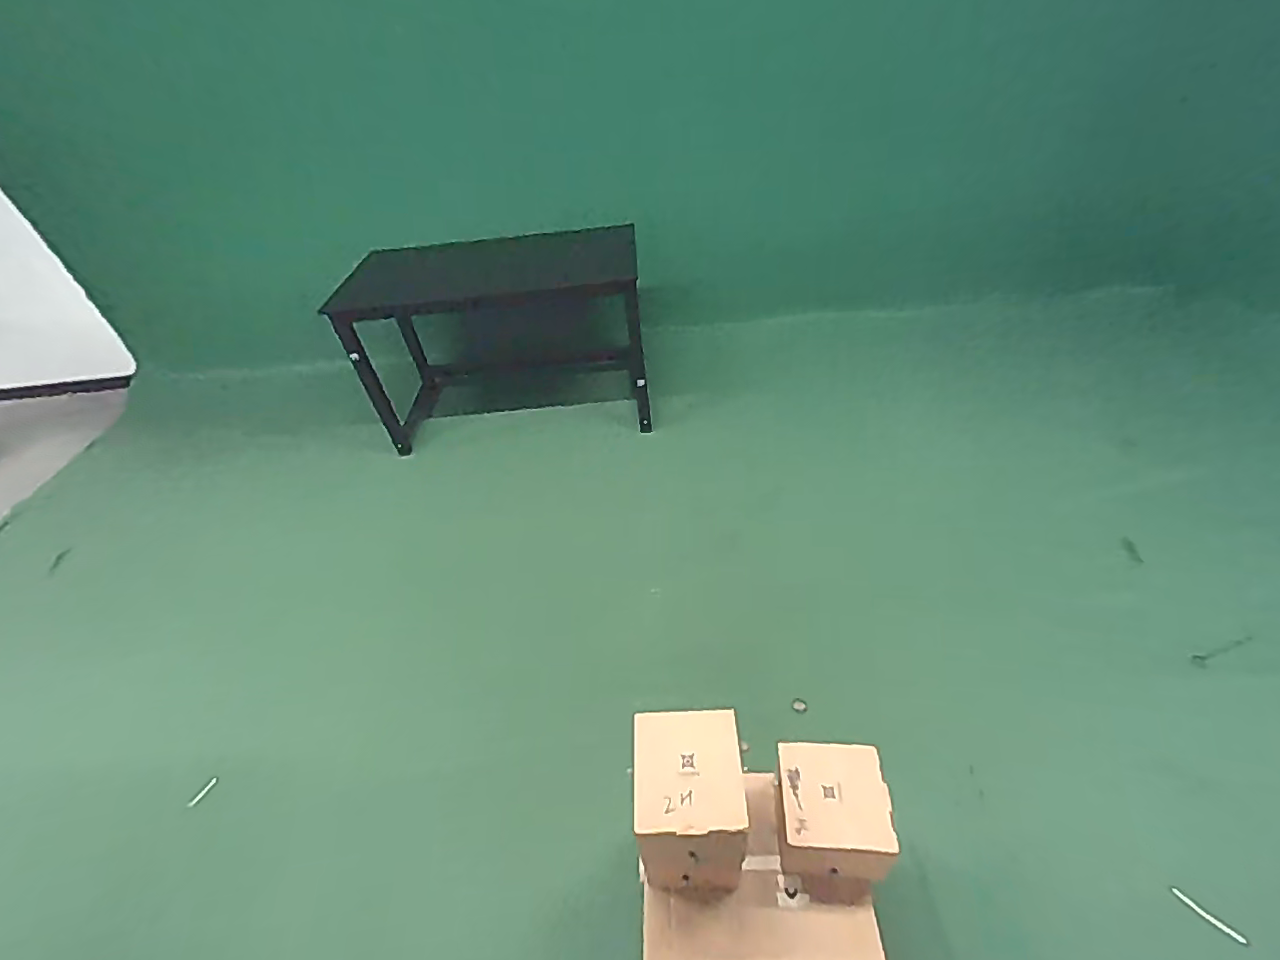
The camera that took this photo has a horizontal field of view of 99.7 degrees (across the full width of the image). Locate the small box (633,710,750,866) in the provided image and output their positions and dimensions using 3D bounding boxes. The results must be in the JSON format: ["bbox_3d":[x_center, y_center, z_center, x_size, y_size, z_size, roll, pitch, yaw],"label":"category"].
[{"bbox_3d":[0.079,0.493,0.868,0.168,0.176,0.179,-4,42,4],"label":"small box"}]

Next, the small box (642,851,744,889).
[{"bbox_3d":[0.093,0.613,0.980,0.168,0.176,0.179,-3,42,4],"label":"small box"}]

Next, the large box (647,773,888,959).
[{"bbox_3d":[0.222,0.819,1.096,0.408,0.320,0.320,-3,43,4],"label":"large box"}]

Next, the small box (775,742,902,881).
[{"bbox_3d":[0.340,0.591,0.962,0.179,0.176,0.168,0,42,9],"label":"small box"}]
